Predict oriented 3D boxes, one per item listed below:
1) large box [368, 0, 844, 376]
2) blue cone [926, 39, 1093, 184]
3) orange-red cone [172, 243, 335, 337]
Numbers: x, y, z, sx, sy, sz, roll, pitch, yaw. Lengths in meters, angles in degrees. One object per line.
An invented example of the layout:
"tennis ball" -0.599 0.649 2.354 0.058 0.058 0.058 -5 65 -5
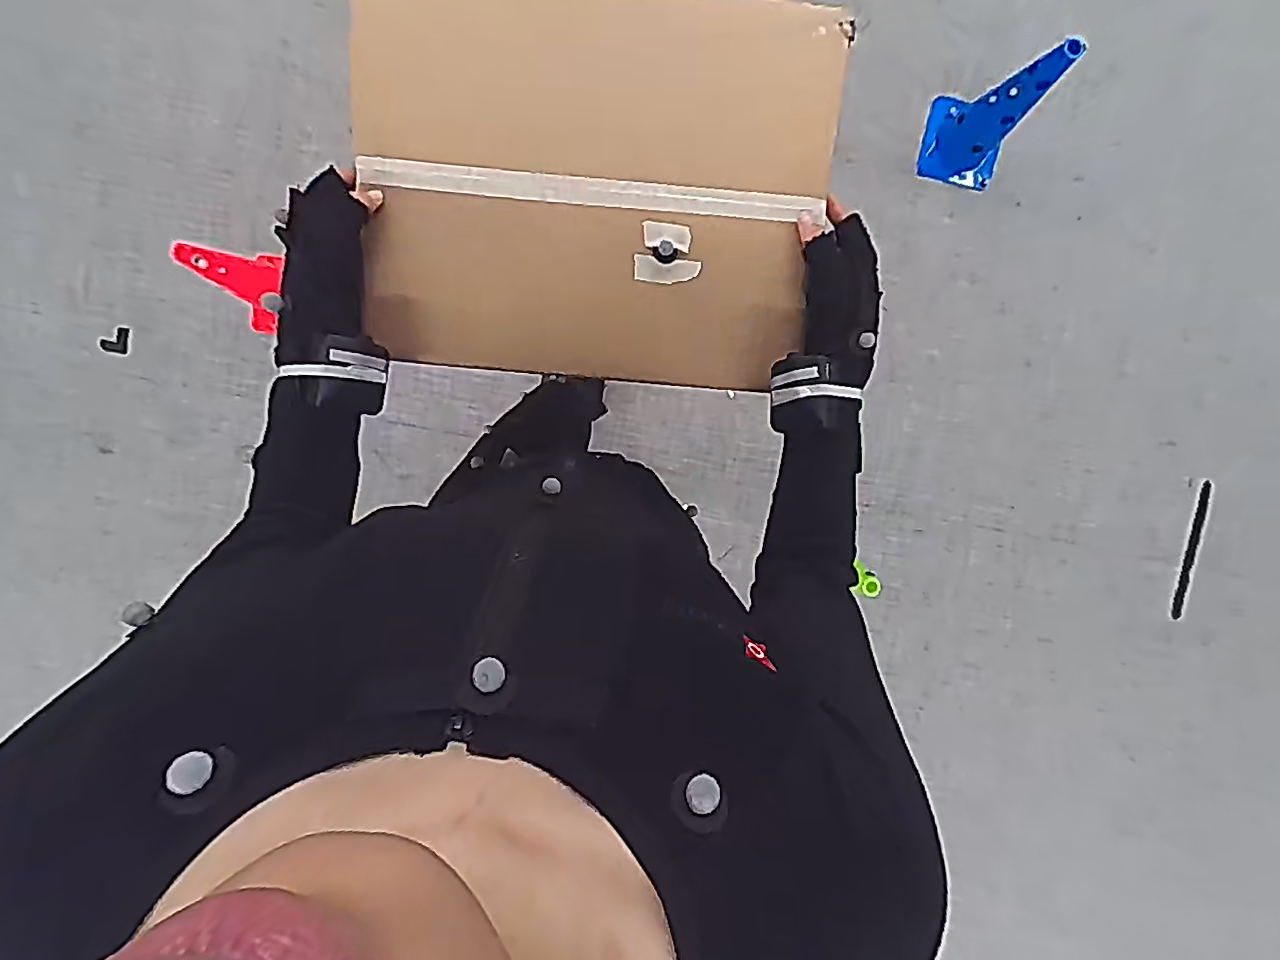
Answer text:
"large box" -0.041 -0.290 0.621 0.408 0.320 0.320 4 102 -3
"blue cone" 0.851 -0.862 1.238 0.192 0.380 0.193 14 95 -3
"orange-red cone" -0.893 -0.461 1.228 0.198 0.360 0.199 8 96 -1
